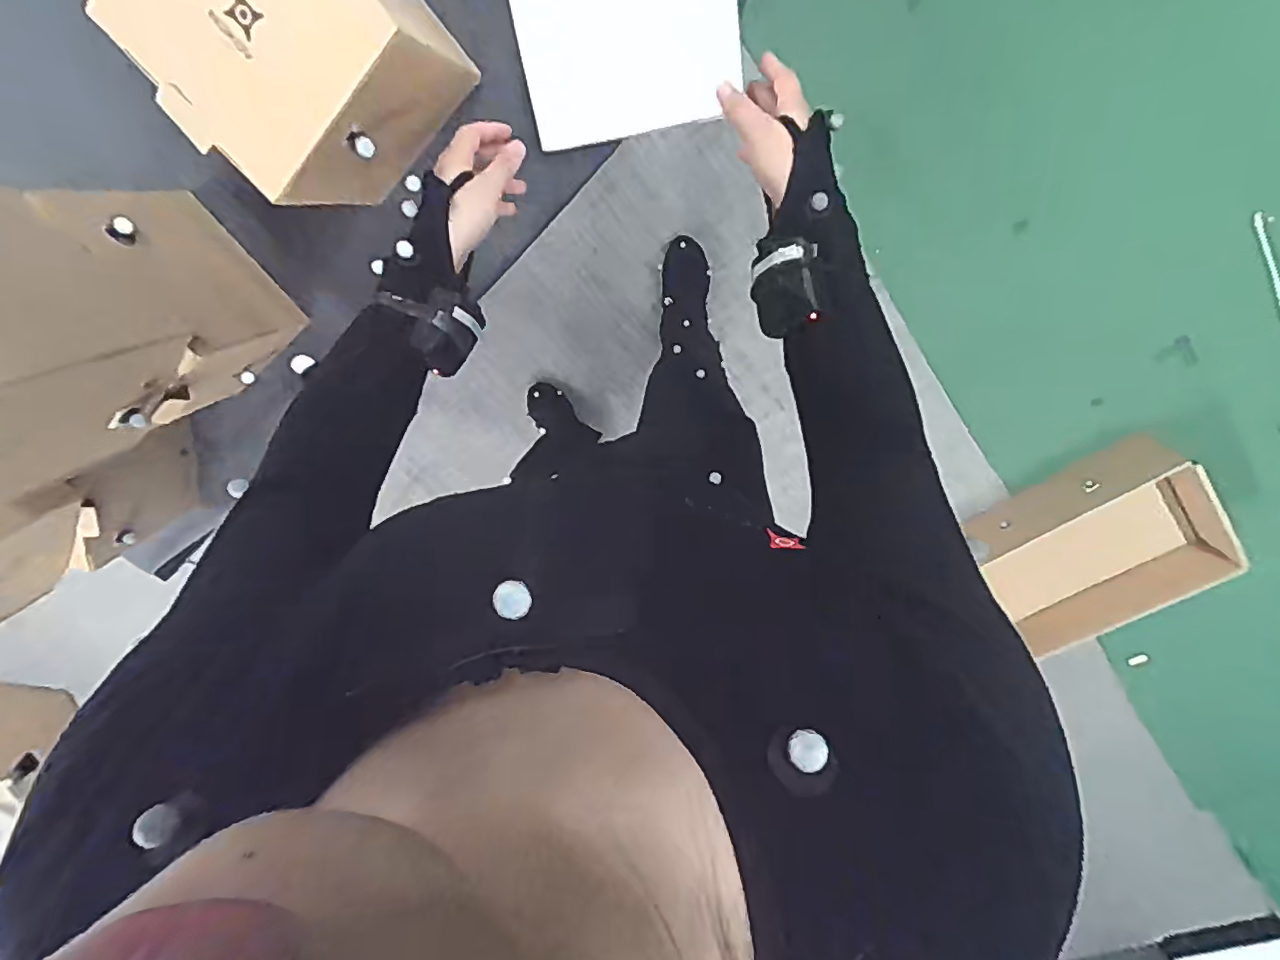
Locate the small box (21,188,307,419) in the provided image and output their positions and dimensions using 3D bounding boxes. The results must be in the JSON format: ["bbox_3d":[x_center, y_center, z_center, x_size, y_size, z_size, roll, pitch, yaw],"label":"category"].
[{"bbox_3d":[-0.518,-0.181,0.581,0.168,0.176,0.179,-31,111,21],"label":"small box"}]

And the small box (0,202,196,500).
[{"bbox_3d":[-0.529,-0.105,0.438,0.179,0.176,0.168,40,116,-16],"label":"small box"}]

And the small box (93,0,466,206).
[{"bbox_3d":[-0.273,-0.364,0.455,0.179,0.176,0.168,-35,109,23],"label":"small box"}]

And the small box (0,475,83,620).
[{"bbox_3d":[-0.736,0.064,0.551,0.168,0.176,0.179,35,118,-13],"label":"small box"}]
